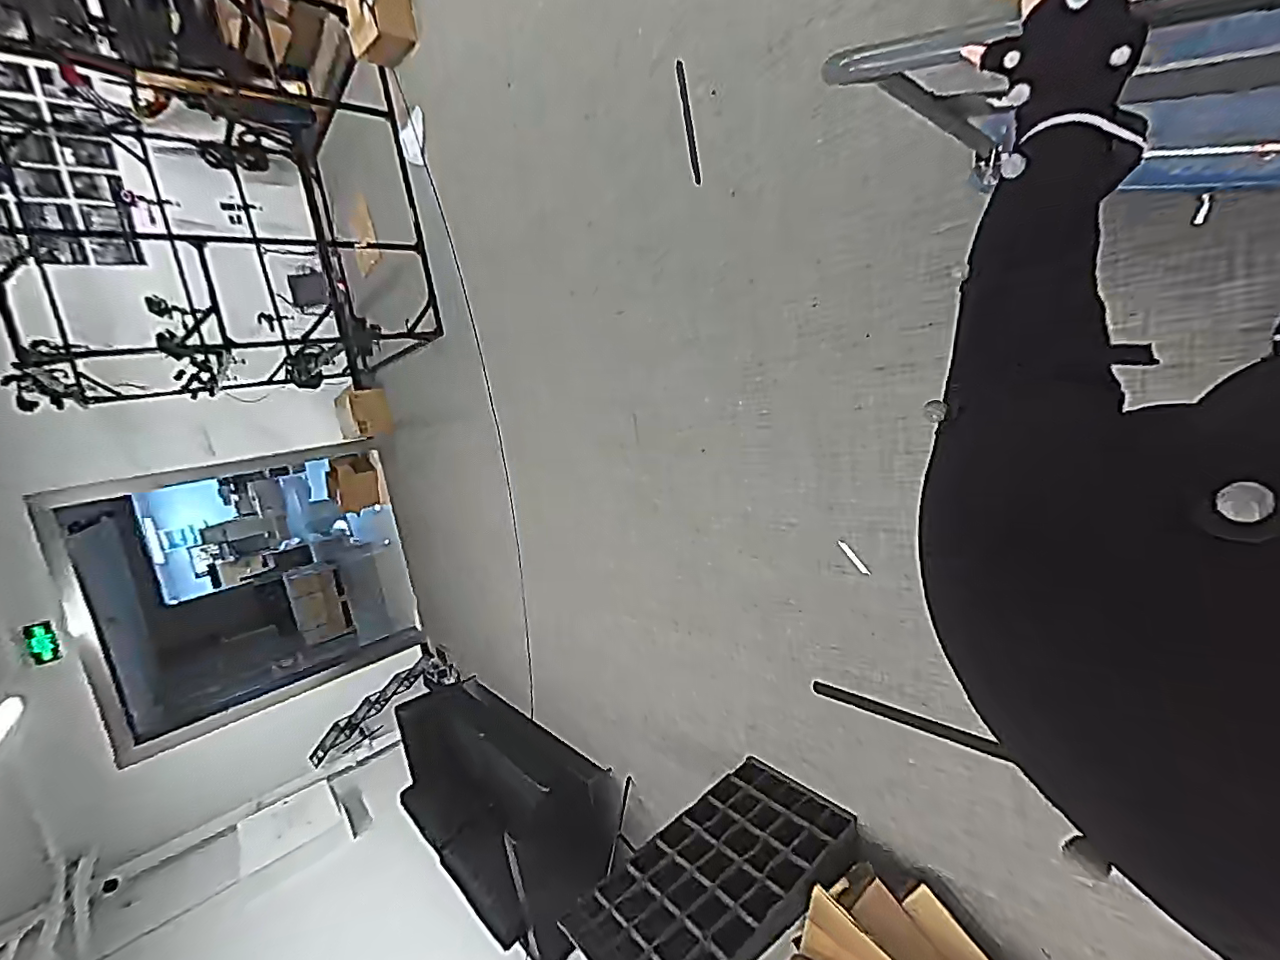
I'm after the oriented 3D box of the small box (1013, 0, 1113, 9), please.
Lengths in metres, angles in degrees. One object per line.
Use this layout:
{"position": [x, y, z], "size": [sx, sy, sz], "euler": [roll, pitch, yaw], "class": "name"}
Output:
{"position": [0.699, -0.877, 0.851], "size": [0.179, 0.176, 0.168], "euler": [32, 126, 38], "class": "small box"}
